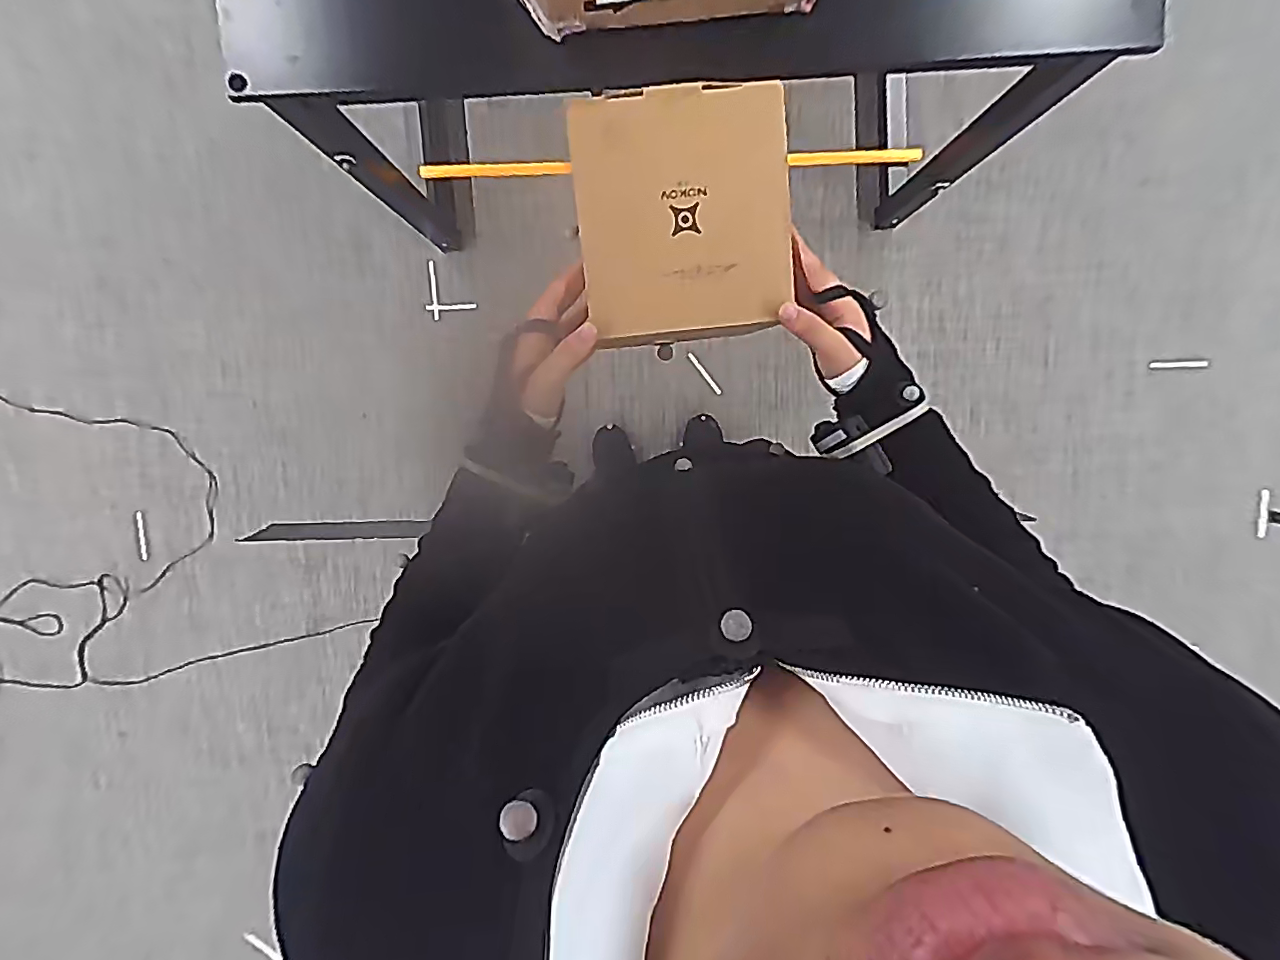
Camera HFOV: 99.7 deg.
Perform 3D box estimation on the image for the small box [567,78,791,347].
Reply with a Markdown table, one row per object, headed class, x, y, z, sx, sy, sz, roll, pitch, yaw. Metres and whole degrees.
| class | x | y | z | sx | sy | sz | roll | pitch | yaw |
| --- | --- | --- | --- | --- | --- | --- | --- | --- | --- |
| small box | 0.028 | -0.221 | 0.493 | 0.168 | 0.176 | 0.179 | -6 | 101 | -2 |
